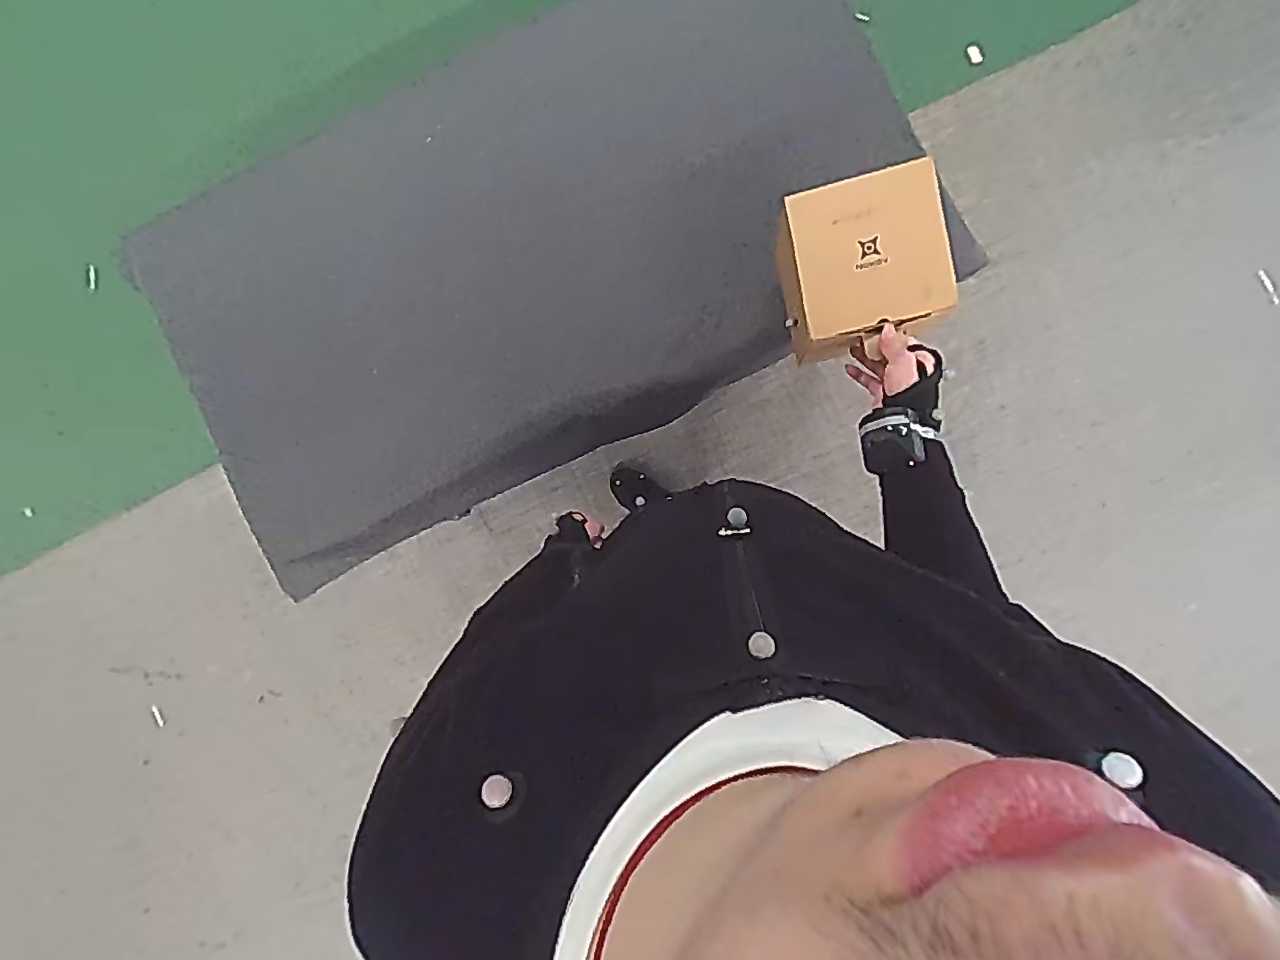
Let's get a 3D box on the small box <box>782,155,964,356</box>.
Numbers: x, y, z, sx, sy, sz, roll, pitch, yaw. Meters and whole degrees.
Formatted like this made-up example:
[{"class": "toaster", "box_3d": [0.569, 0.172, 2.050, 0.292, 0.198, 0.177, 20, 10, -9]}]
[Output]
[{"class": "small box", "box_3d": [0.283, -0.267, 0.693, 0.168, 0.176, 0.179, -10, 89, 10]}]
